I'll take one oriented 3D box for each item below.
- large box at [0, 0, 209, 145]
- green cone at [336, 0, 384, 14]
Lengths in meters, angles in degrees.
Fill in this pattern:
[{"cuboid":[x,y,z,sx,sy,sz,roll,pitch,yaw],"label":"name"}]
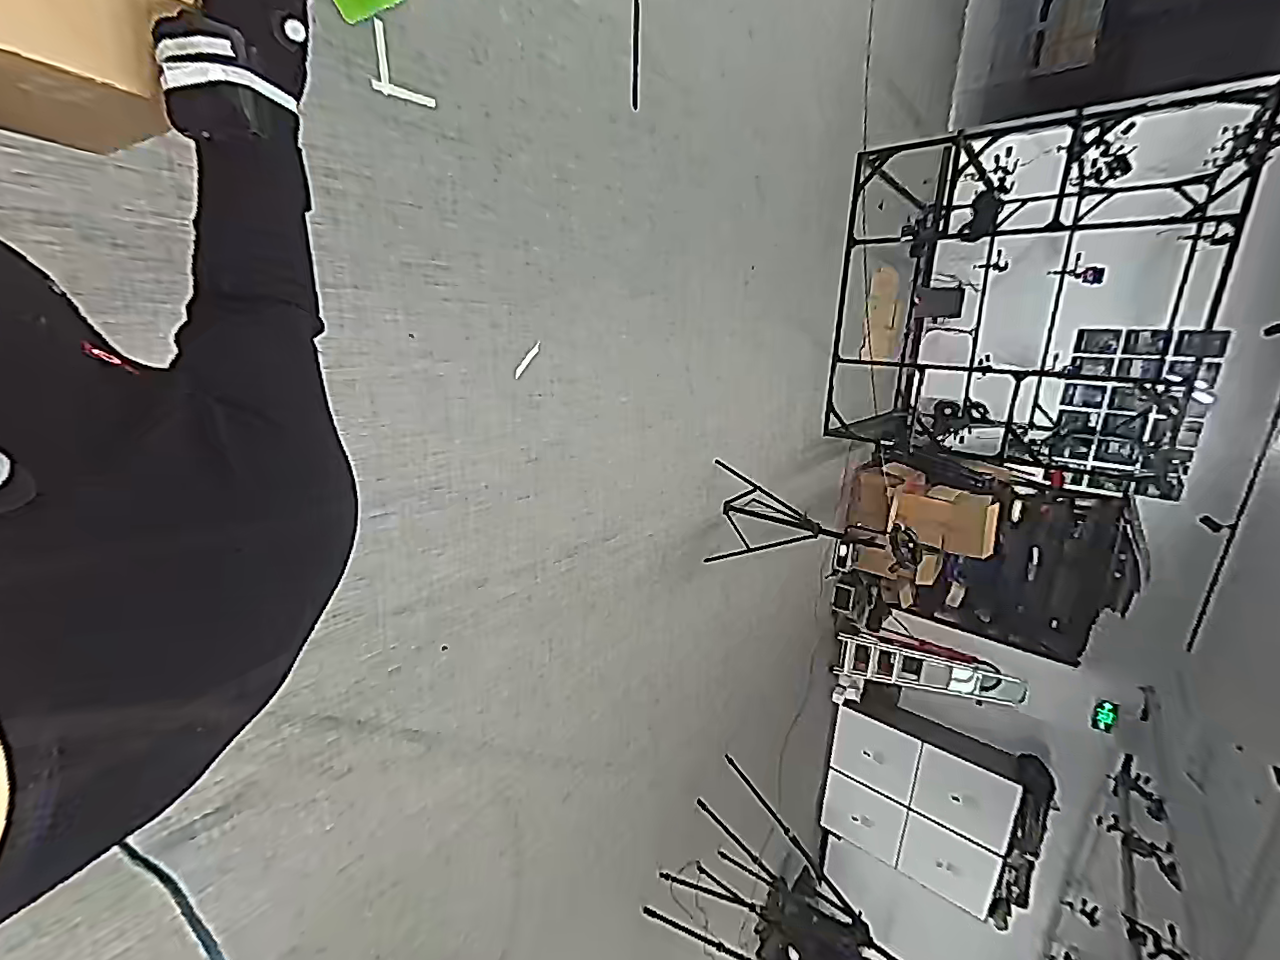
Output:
[{"cuboid":[-0.537,-0.430,0.286,0.408,0.320,0.320,-12,114,-54],"label":"large box"},{"cuboid":[-0.536,-1.185,1.145,0.202,0.368,0.200,-56,140,-27],"label":"green cone"}]
